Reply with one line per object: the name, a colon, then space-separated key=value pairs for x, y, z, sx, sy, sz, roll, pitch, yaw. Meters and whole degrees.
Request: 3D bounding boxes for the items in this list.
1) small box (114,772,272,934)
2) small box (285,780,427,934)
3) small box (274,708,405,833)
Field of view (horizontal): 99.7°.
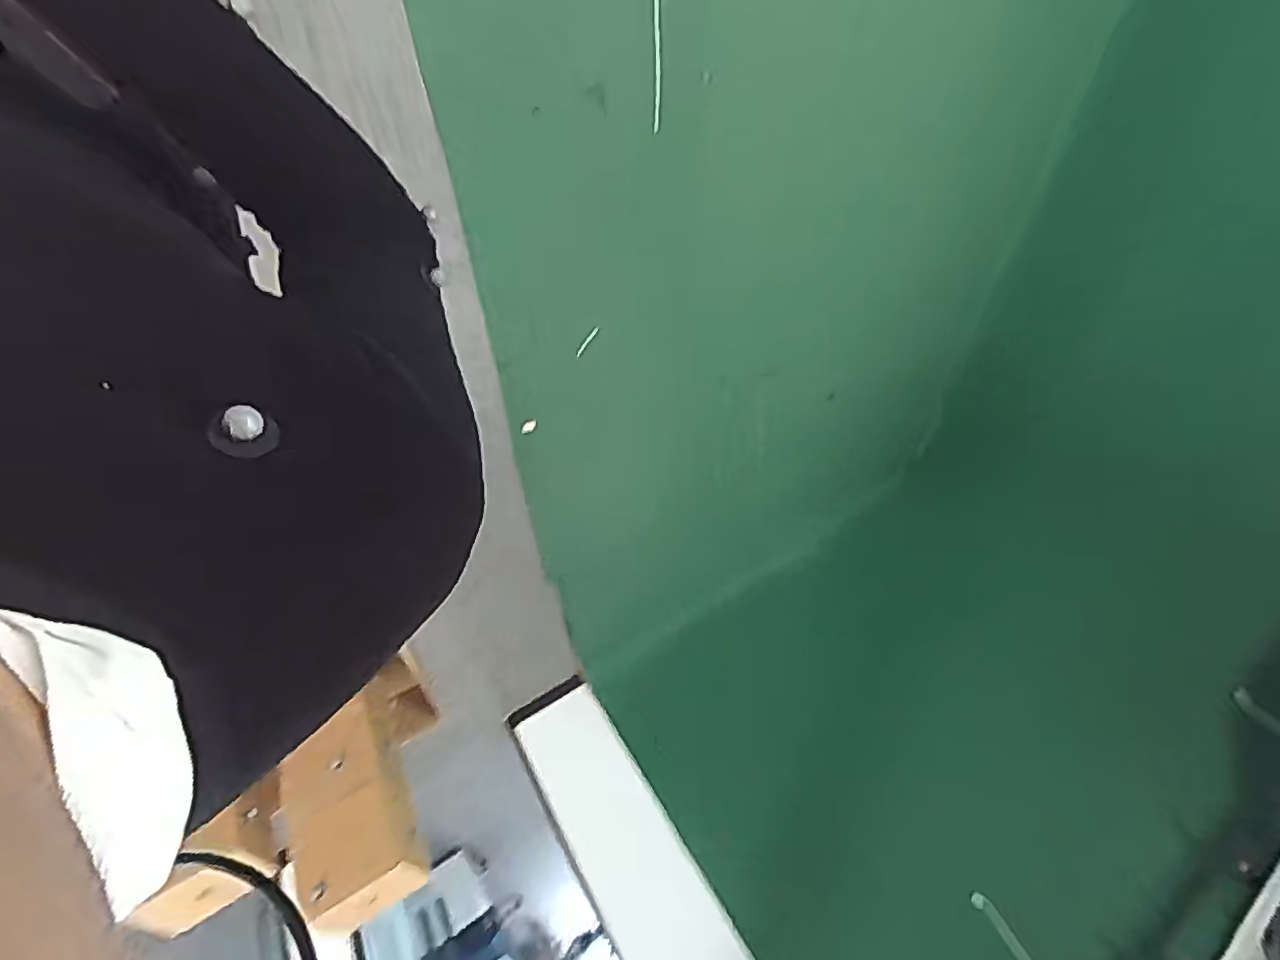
small box: x=-0.832 y=0.690 z=1.013 sx=0.179 sy=0.176 sz=0.168 roll=-24 pitch=138 yaw=-24
small box: x=-0.538 y=0.709 z=1.026 sx=0.179 sy=0.176 sz=0.168 roll=-26 pitch=140 yaw=-17
small box: x=-0.624 y=0.612 z=1.124 sx=0.179 sy=0.176 sz=0.168 roll=-26 pitch=139 yaw=-19
